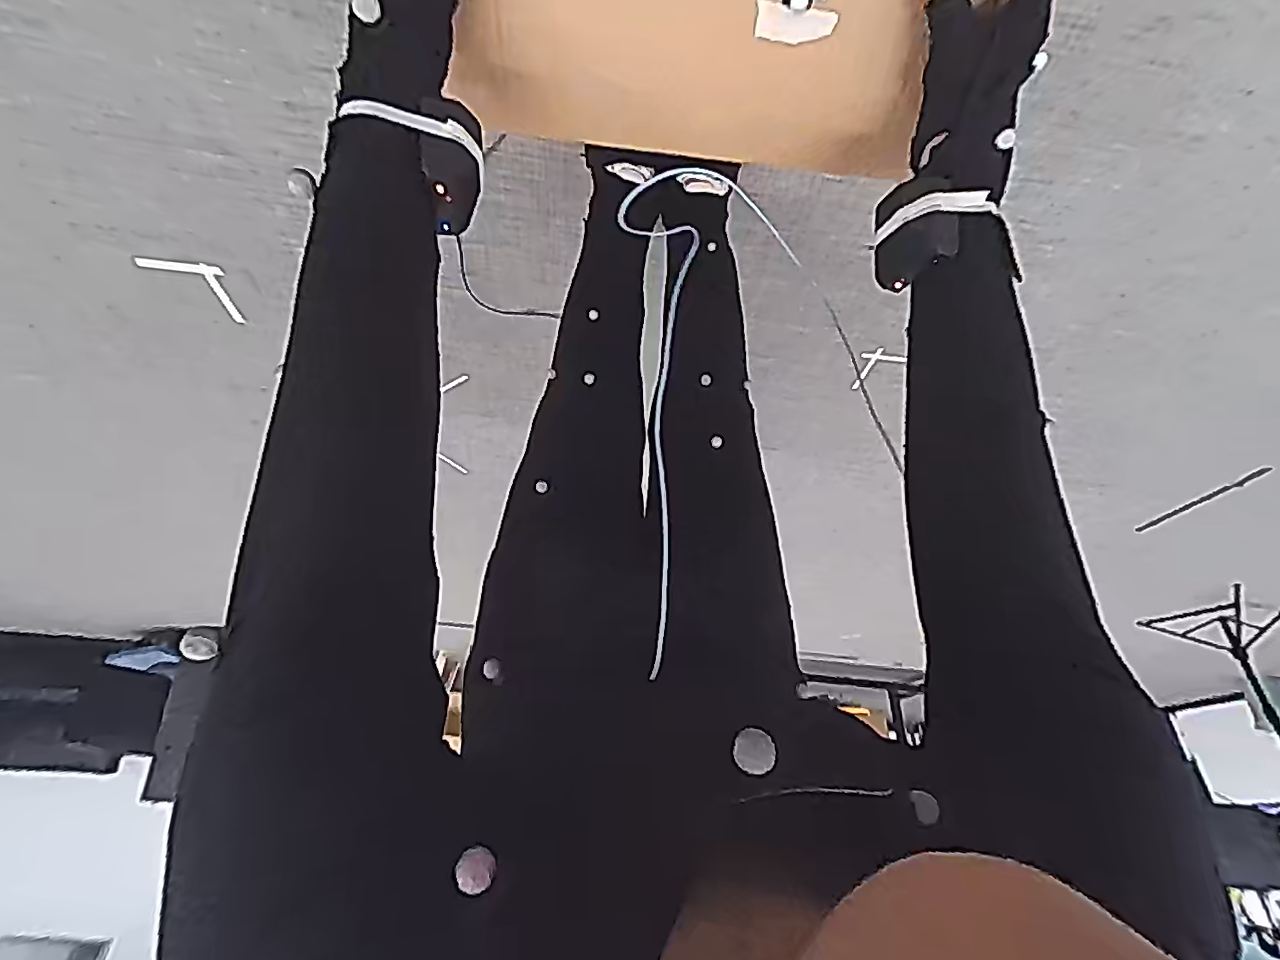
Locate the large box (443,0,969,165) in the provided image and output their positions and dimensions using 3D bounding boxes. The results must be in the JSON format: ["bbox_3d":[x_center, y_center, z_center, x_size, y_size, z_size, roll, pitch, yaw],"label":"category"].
[{"bbox_3d":[0.056,-0.511,0.461,0.408,0.320,0.320,5,141,-3],"label":"large box"}]
